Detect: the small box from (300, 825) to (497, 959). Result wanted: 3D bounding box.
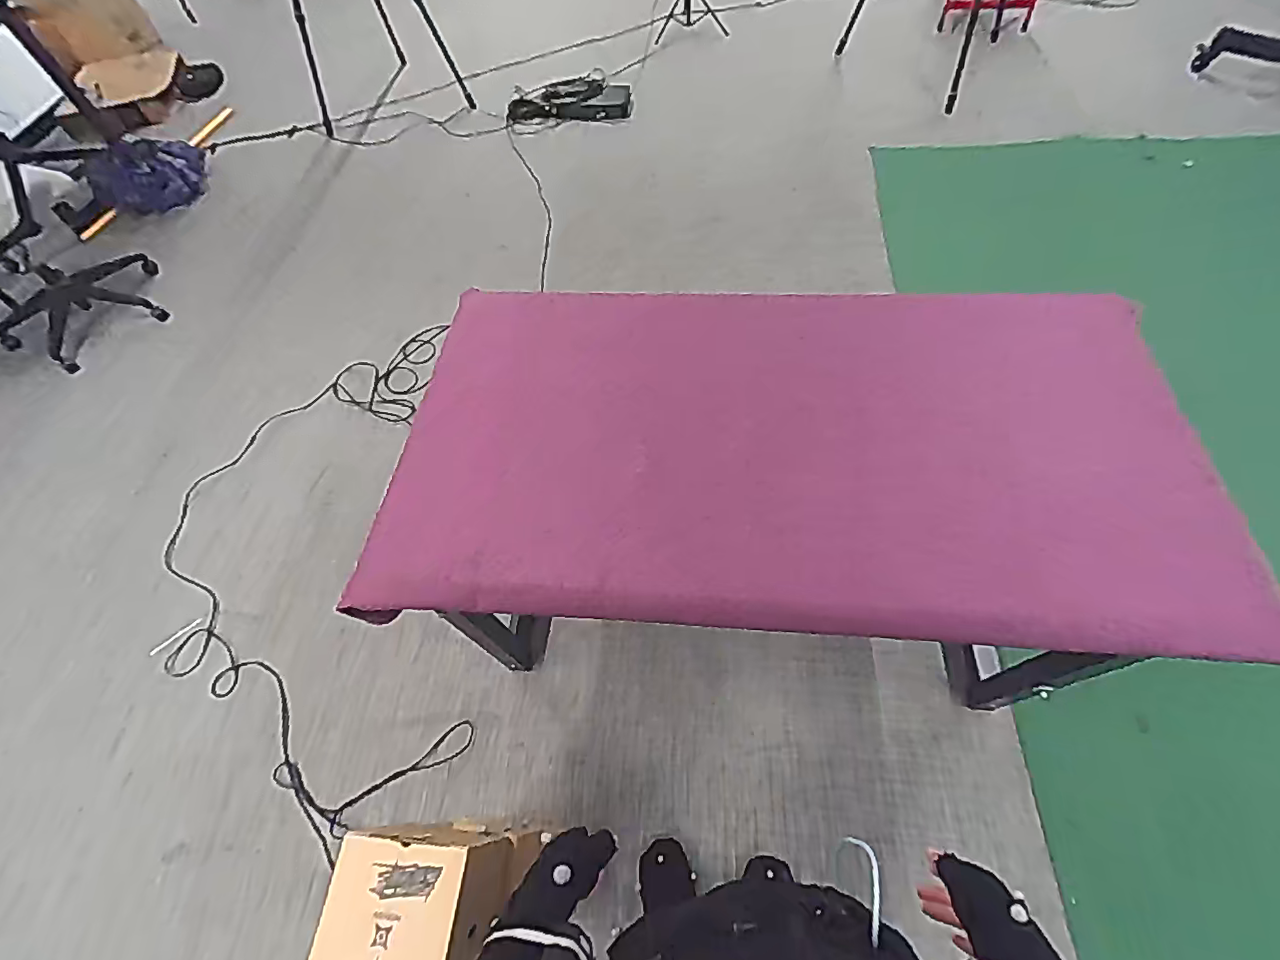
[{"bbox_3d":[-0.300,0.564,0.702,0.168,0.176,0.179,4,62,7],"label":"small box"}]
